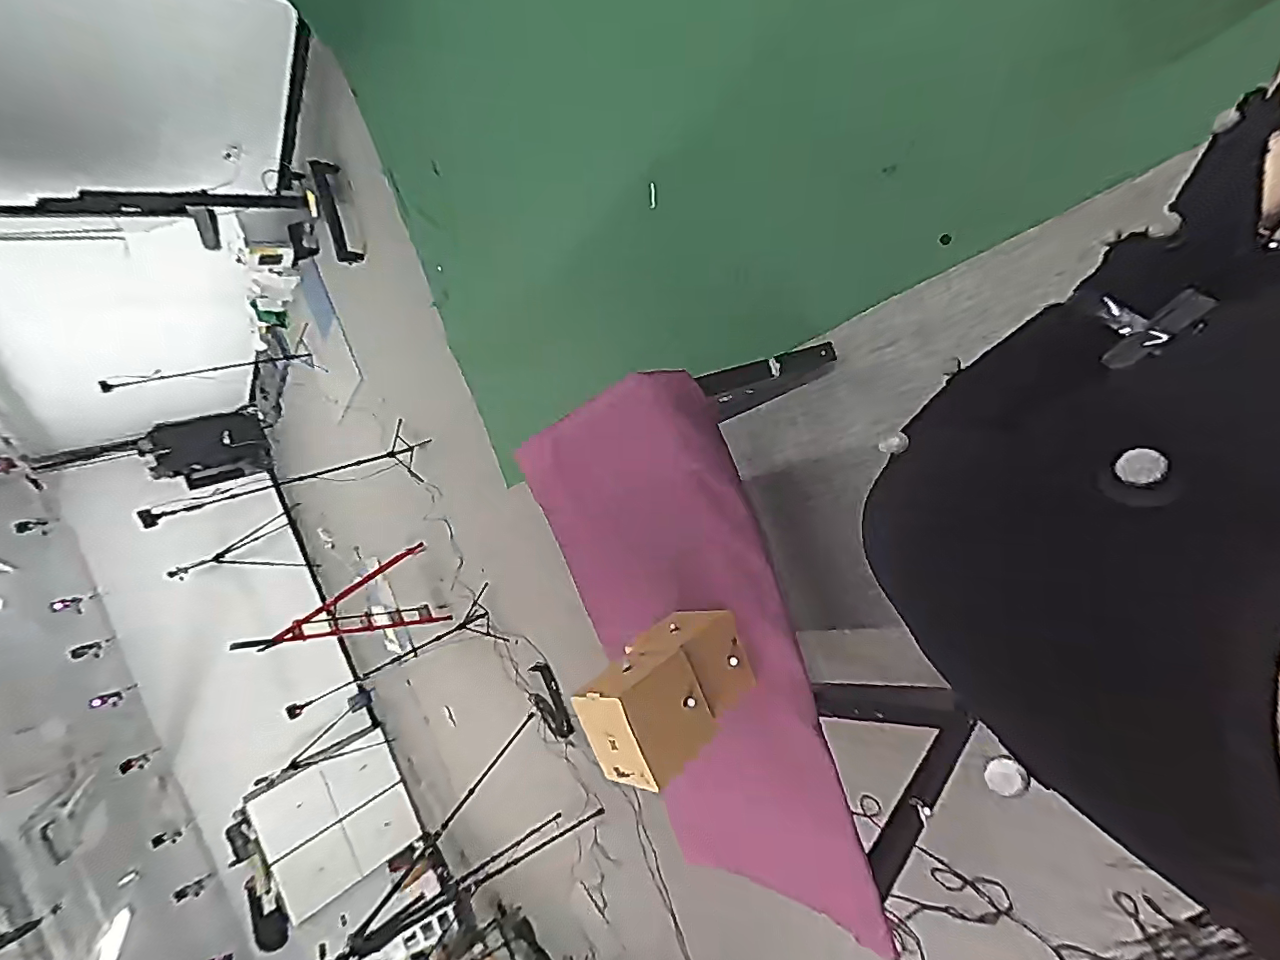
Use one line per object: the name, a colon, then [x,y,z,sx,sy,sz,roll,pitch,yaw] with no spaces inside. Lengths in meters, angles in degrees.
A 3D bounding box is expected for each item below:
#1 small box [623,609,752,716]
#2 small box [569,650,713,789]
small box: [0.100,0.381,1.132,0.179,0.176,0.168,-19,93,50]
small box: [0.004,0.429,1.006,0.168,0.176,0.179,-24,89,50]
